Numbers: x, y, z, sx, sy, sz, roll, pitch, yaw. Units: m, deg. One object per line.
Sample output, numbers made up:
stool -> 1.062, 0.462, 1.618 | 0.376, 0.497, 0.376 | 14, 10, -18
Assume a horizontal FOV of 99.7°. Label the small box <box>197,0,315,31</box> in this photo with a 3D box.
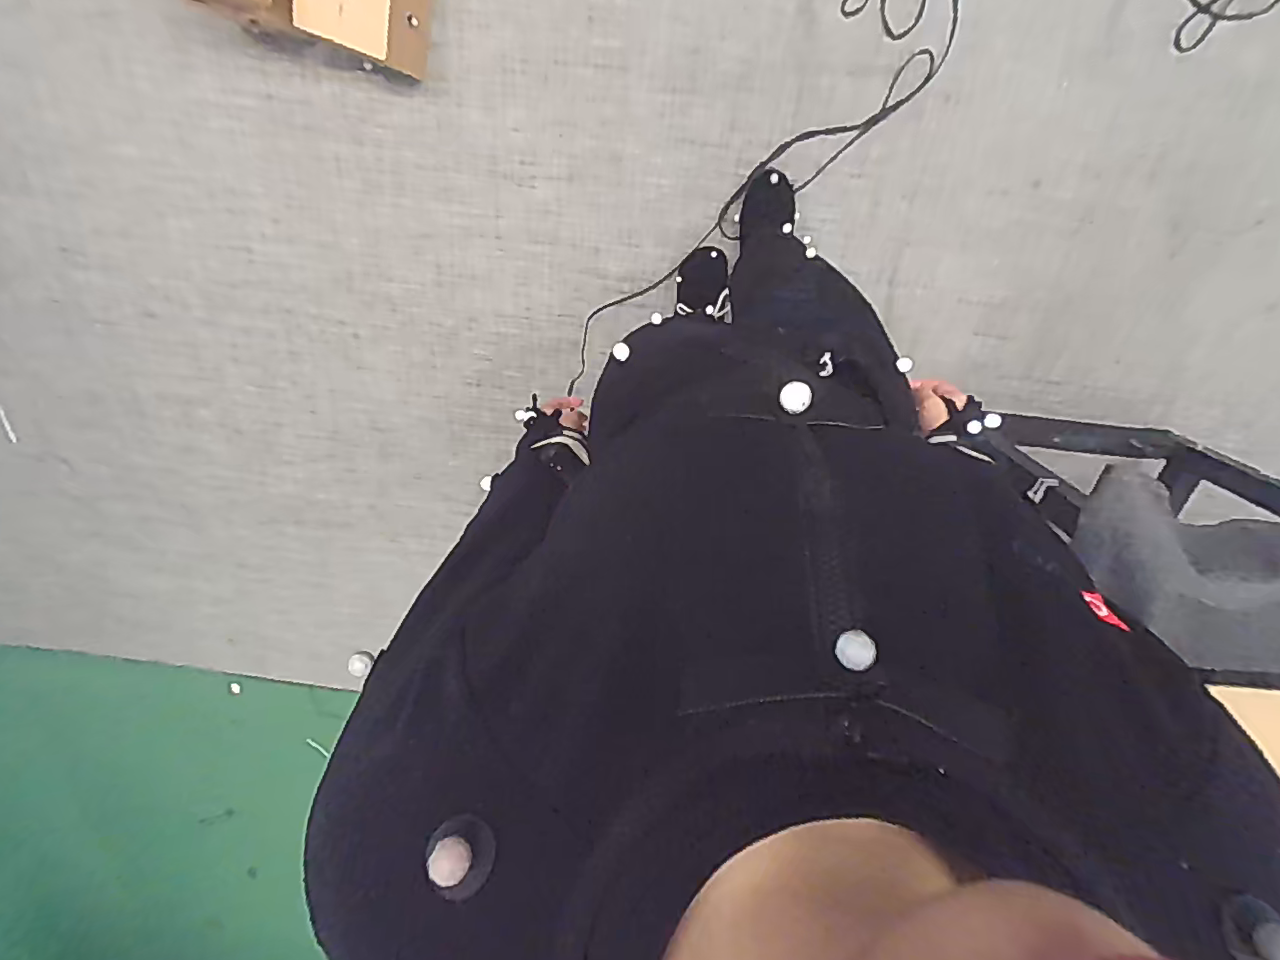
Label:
small box -> -0.698, -0.925, 0.946 | 0.168, 0.176, 0.179 | 11, 117, -2
